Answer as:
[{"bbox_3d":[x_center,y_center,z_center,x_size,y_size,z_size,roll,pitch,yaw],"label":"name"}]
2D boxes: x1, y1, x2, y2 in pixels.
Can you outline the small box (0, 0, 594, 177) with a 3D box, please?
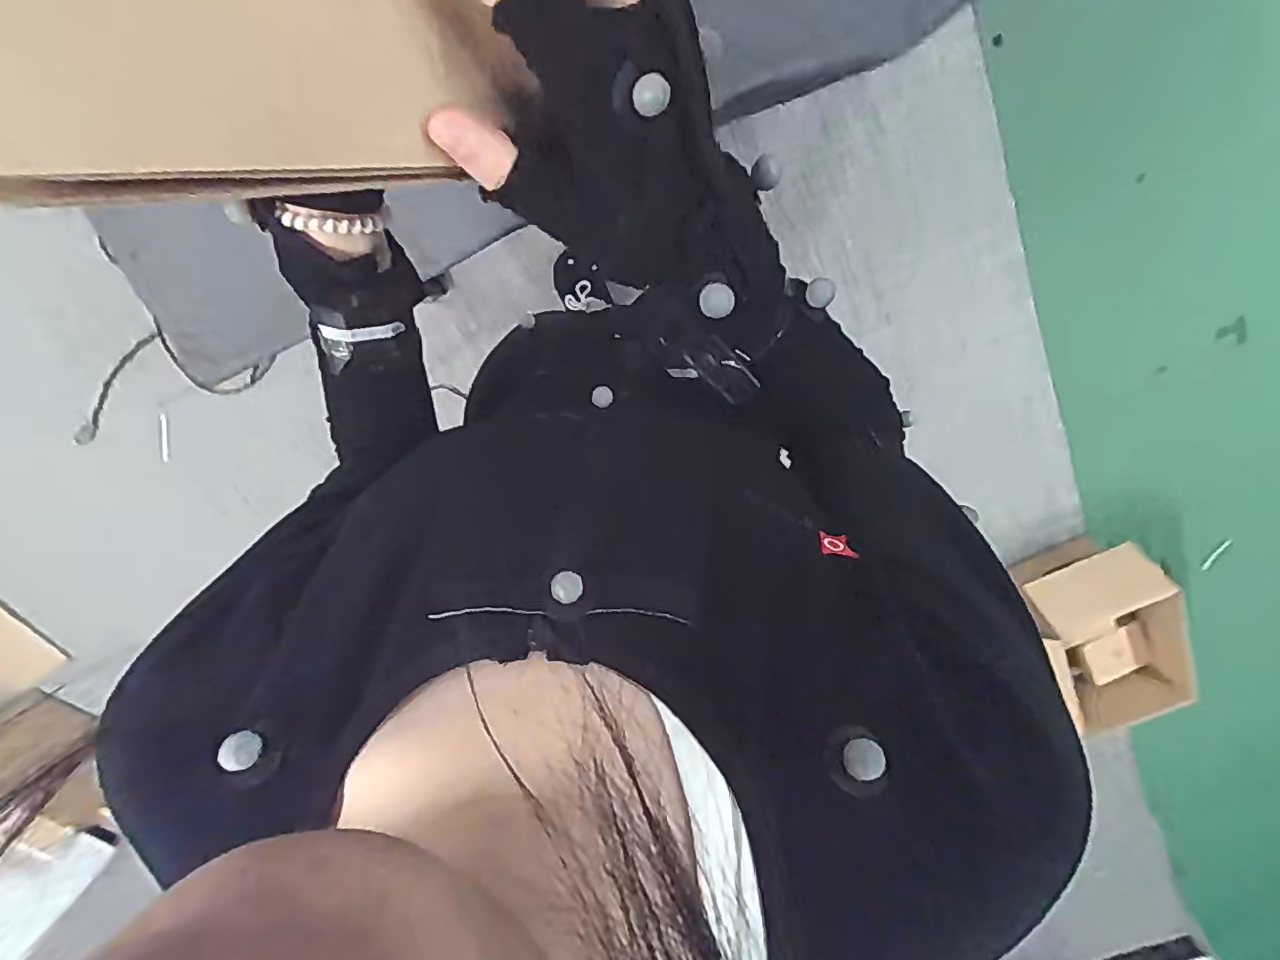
[{"bbox_3d":[-0.128,-0.207,0.165,0.179,0.168,0.176,-27,142,-36],"label":"small box"}]
